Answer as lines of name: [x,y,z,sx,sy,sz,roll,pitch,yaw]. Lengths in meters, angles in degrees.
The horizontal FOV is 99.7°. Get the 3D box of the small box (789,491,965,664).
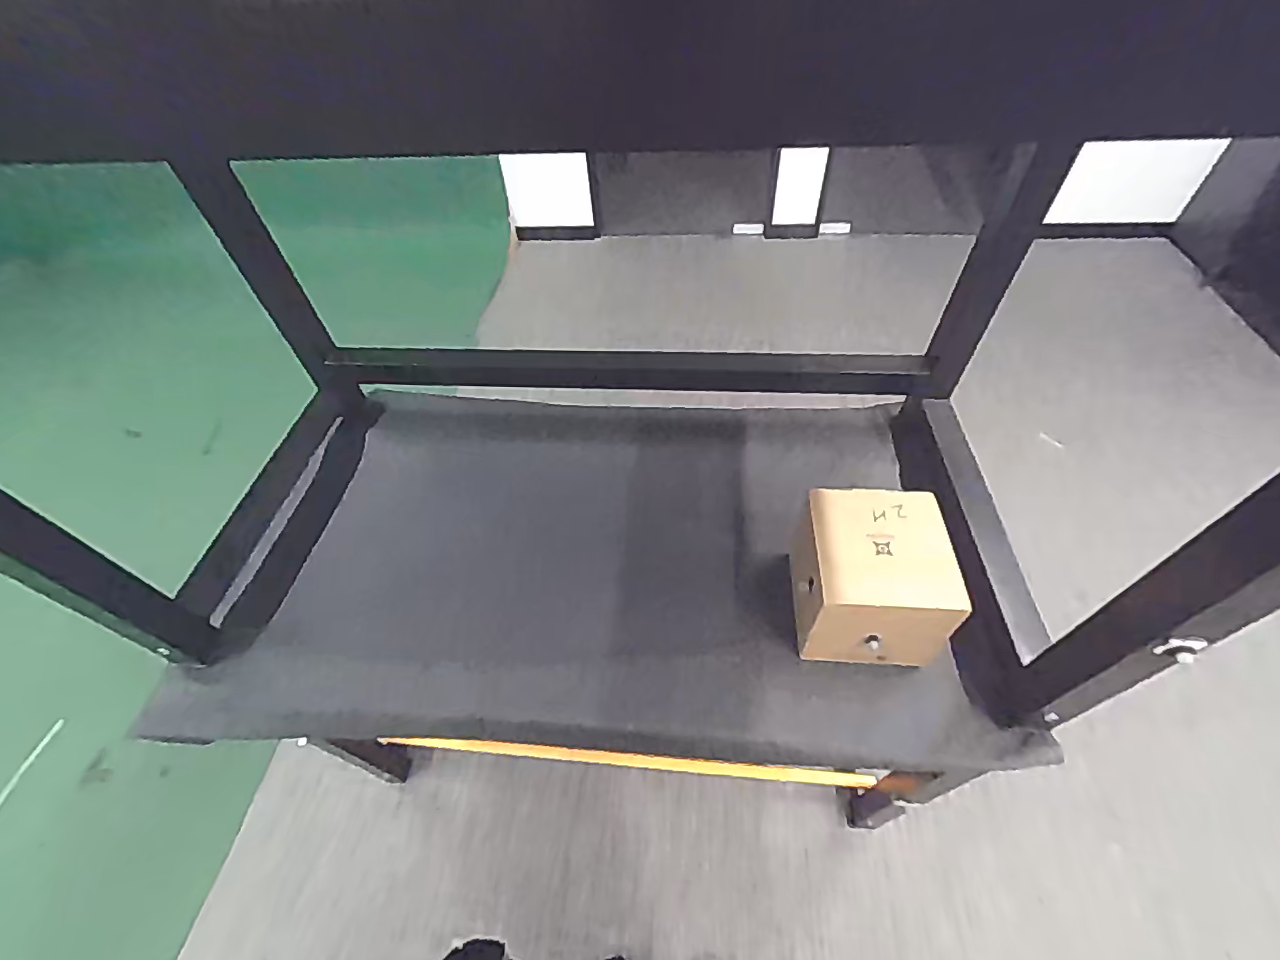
small box: [0.305,0.135,0.738,0.168,0.176,0.179,2,49,6]
